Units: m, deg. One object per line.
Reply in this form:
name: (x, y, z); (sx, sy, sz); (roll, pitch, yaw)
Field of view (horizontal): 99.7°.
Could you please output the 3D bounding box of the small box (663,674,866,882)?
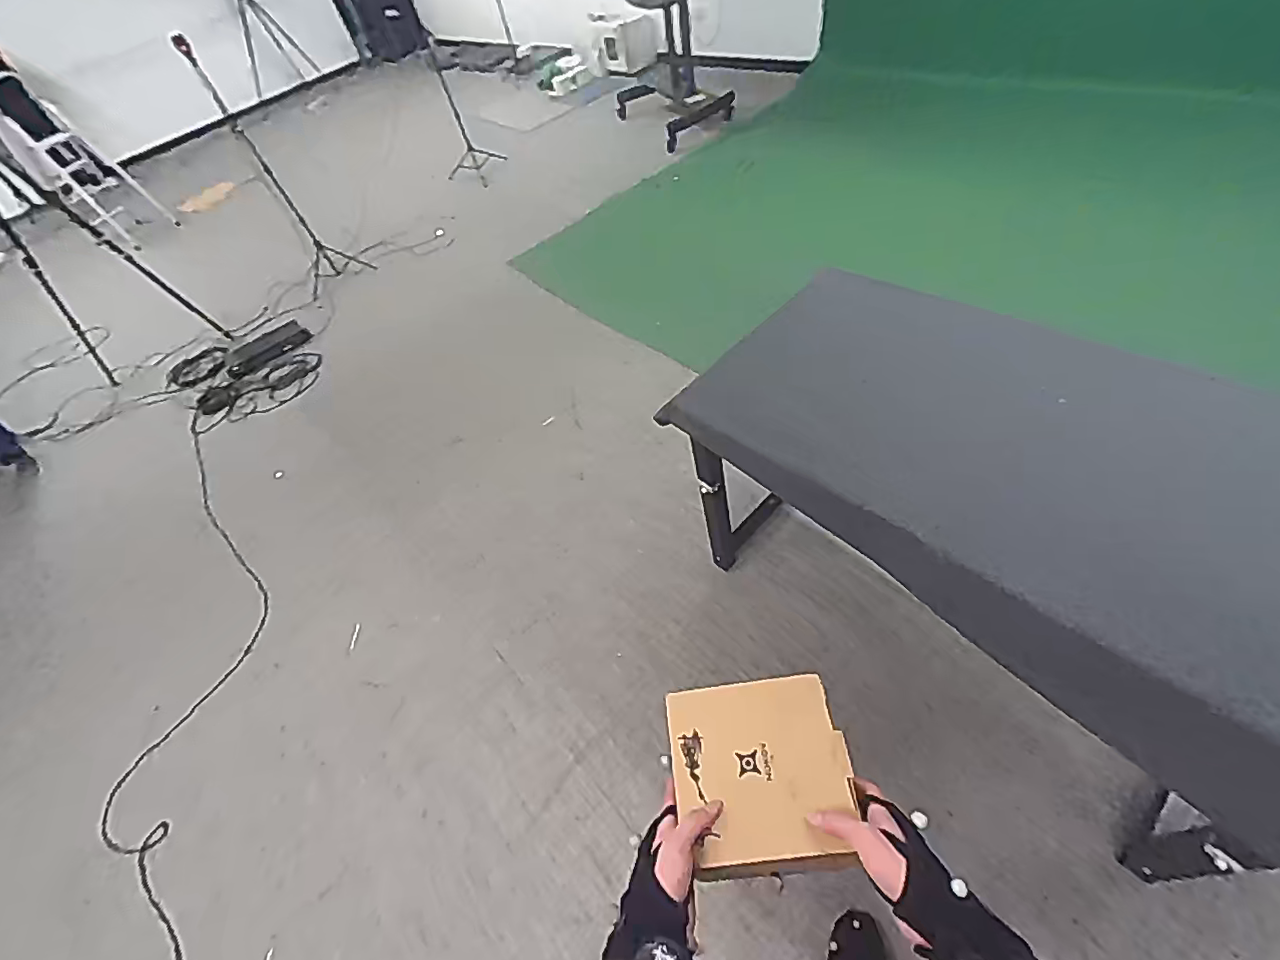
small box: (0.127, 0.337, 0.606); (0.179, 0.176, 0.168); (-9, 48, 4)
